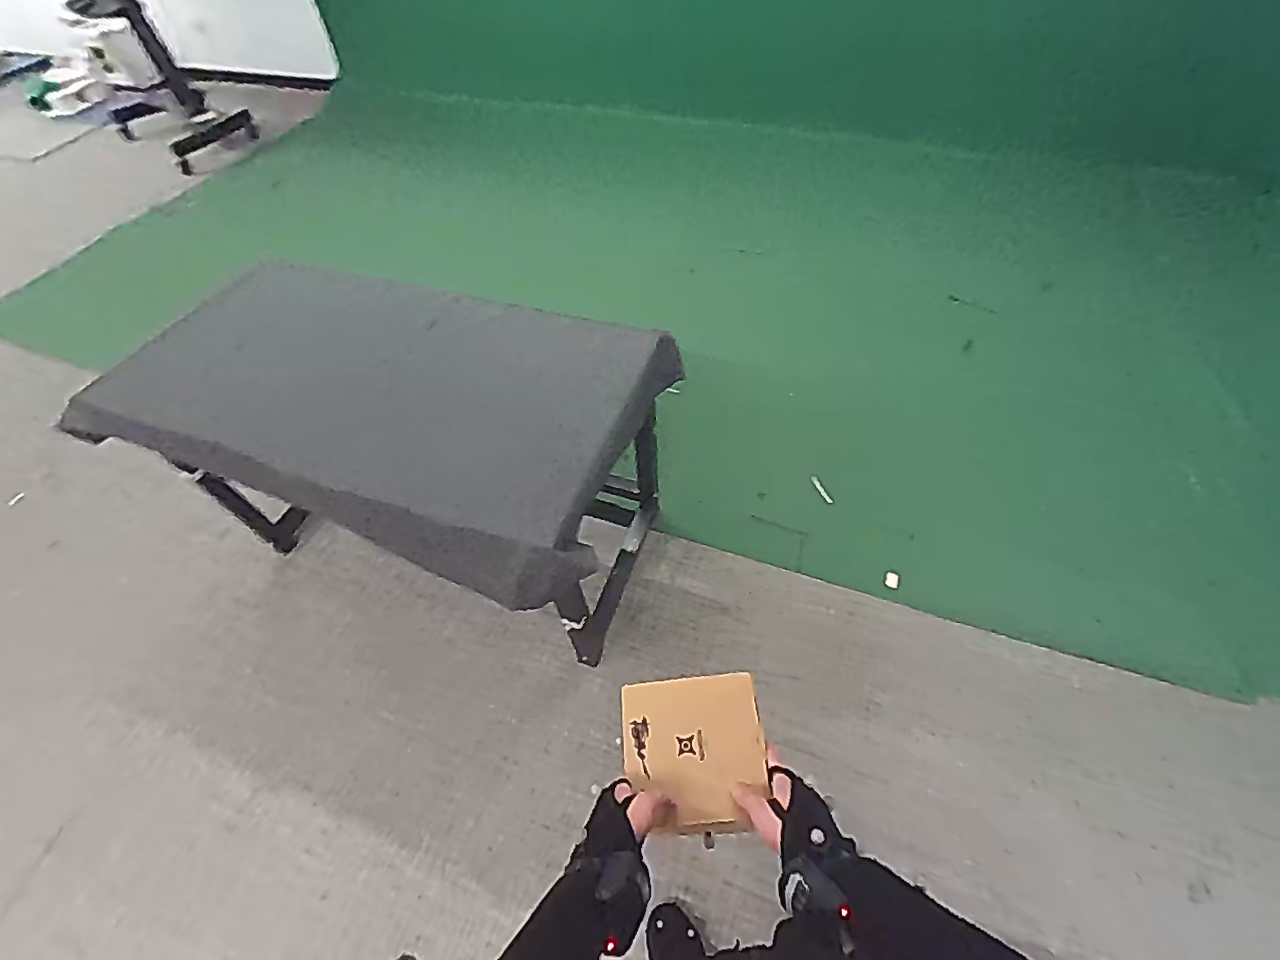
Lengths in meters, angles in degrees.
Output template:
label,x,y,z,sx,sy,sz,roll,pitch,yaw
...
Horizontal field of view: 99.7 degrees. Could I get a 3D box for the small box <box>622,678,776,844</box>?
label,x,y,z,sx,sy,sz,roll,pitch,yaw
small box,0.075,0.382,0.727,0.179,0.176,0.168,-8,51,4
